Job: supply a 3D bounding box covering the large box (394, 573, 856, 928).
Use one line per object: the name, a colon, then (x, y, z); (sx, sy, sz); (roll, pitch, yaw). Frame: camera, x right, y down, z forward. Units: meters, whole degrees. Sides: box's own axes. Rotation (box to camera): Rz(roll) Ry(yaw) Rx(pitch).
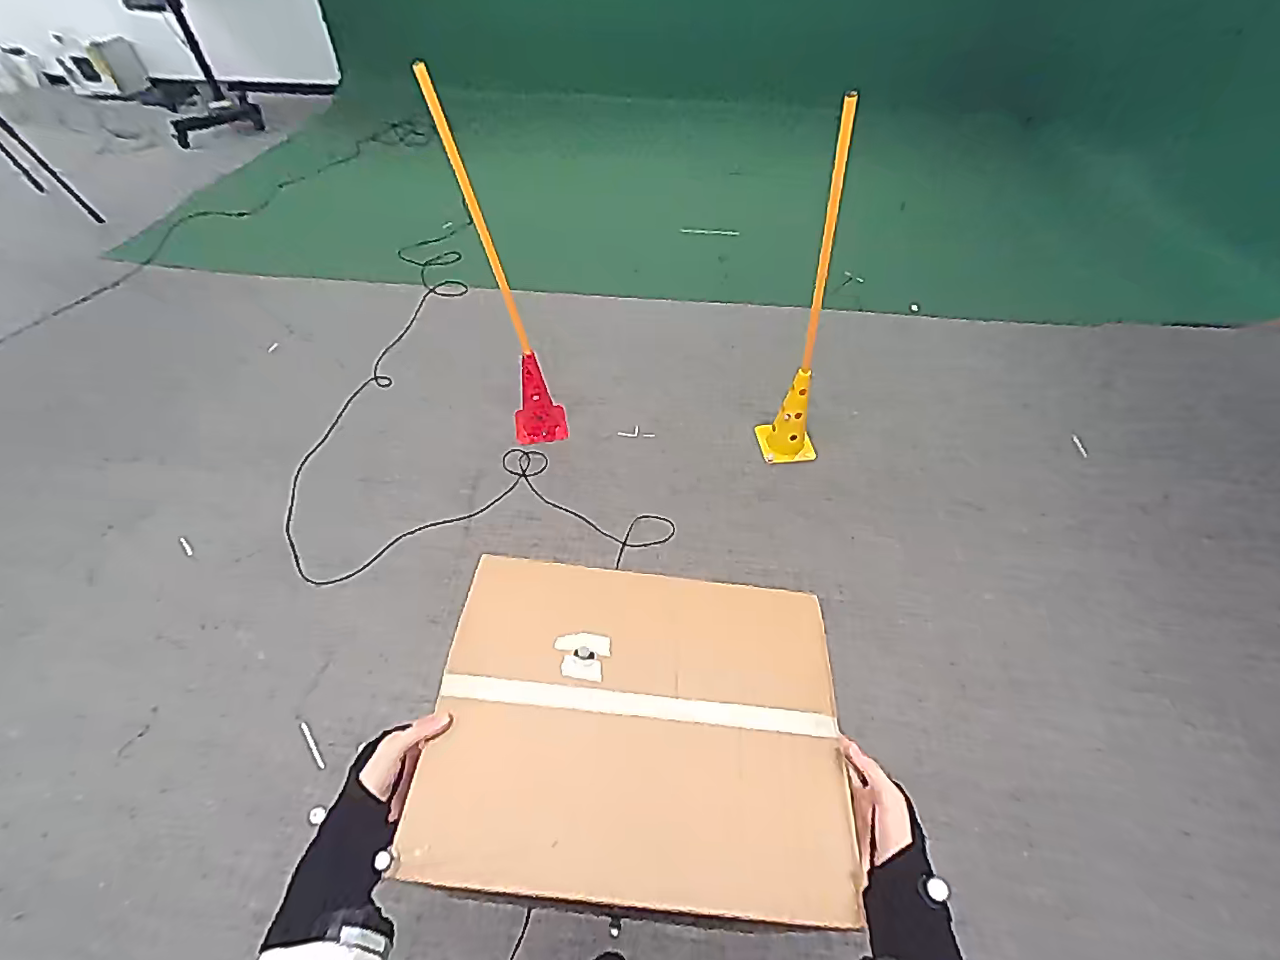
large box: (-0.011, 0.340, 0.666); (0.408, 0.320, 0.320); (6, 48, -1)
